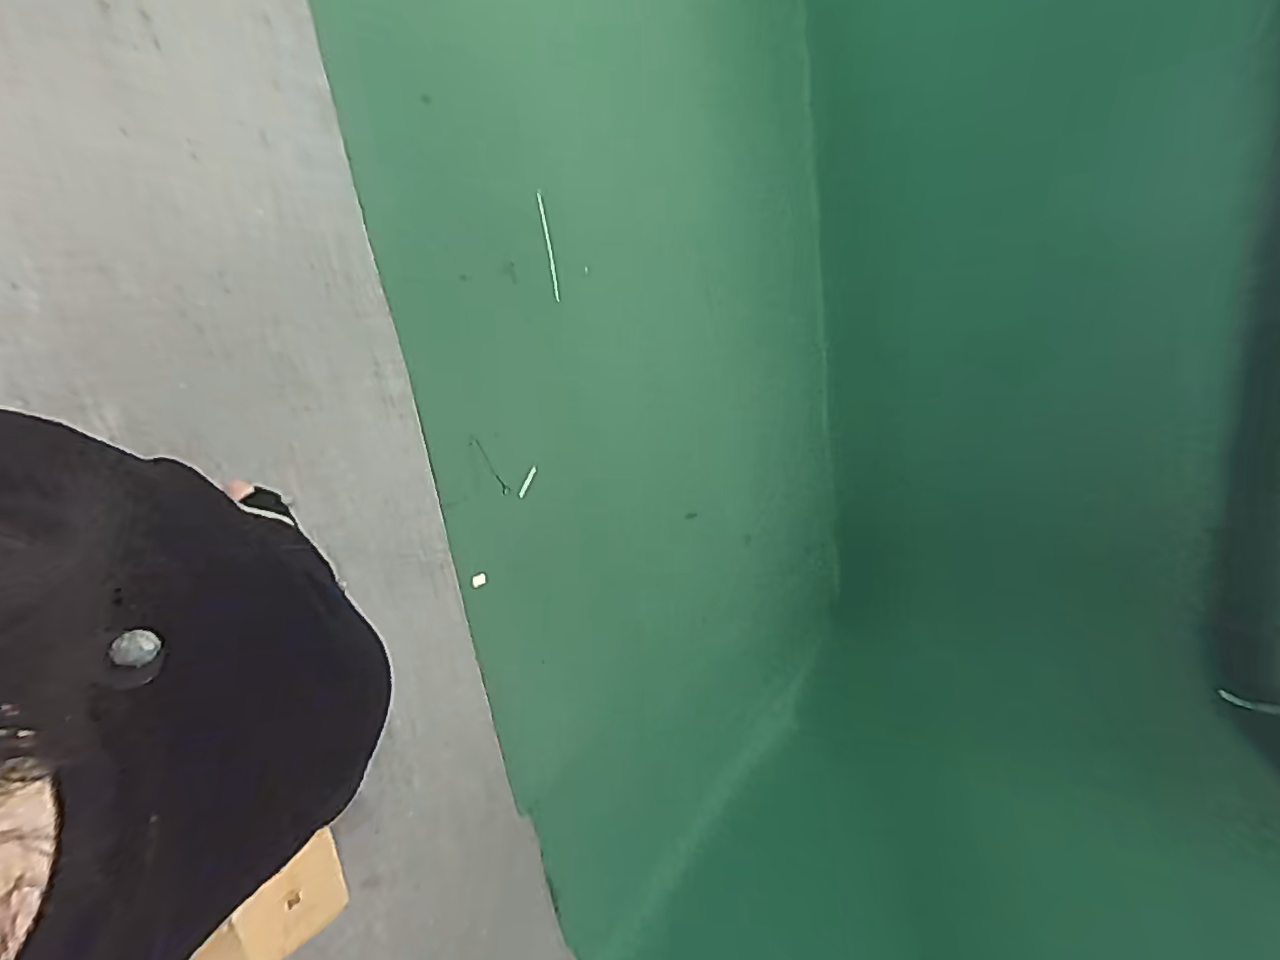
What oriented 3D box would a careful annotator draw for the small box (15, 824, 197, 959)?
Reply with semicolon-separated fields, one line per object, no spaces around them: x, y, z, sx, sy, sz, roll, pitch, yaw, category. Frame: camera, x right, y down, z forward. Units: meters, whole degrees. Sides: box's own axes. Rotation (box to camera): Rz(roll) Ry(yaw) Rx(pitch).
-0.824;0.691;0.840;0.168;0.176;0.179;-17;107;-47;small box

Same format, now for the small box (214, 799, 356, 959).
-0.675;0.746;1.027;0.168;0.176;0.179;-20;110;-47;small box
